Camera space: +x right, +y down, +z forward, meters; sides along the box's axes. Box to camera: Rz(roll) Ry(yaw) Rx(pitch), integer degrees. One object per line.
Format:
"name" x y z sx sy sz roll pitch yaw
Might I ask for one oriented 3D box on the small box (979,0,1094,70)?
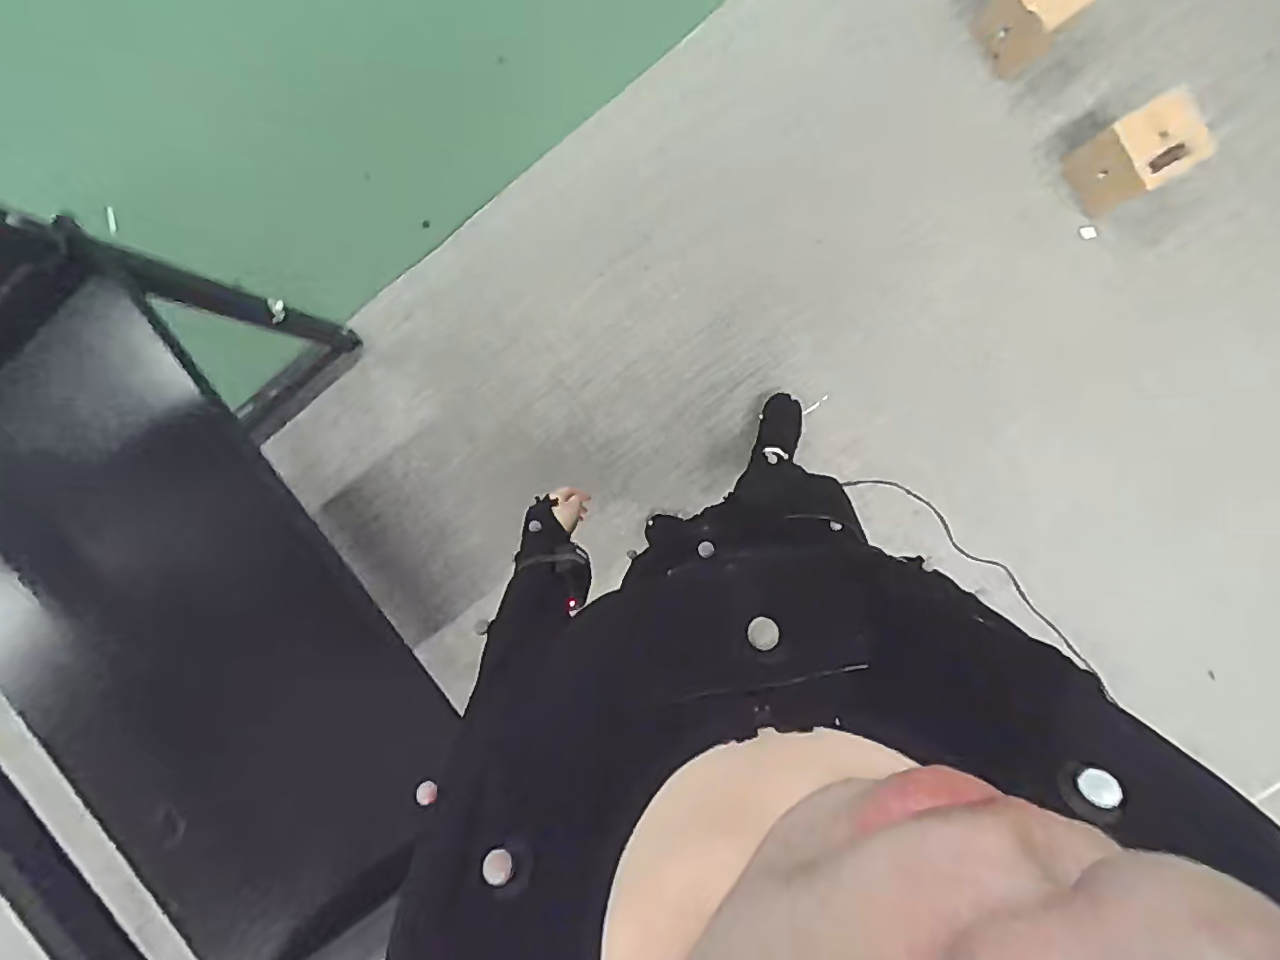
"small box" 0.945 -1.135 1.280 0.179 0.176 0.168 -32 91 7
